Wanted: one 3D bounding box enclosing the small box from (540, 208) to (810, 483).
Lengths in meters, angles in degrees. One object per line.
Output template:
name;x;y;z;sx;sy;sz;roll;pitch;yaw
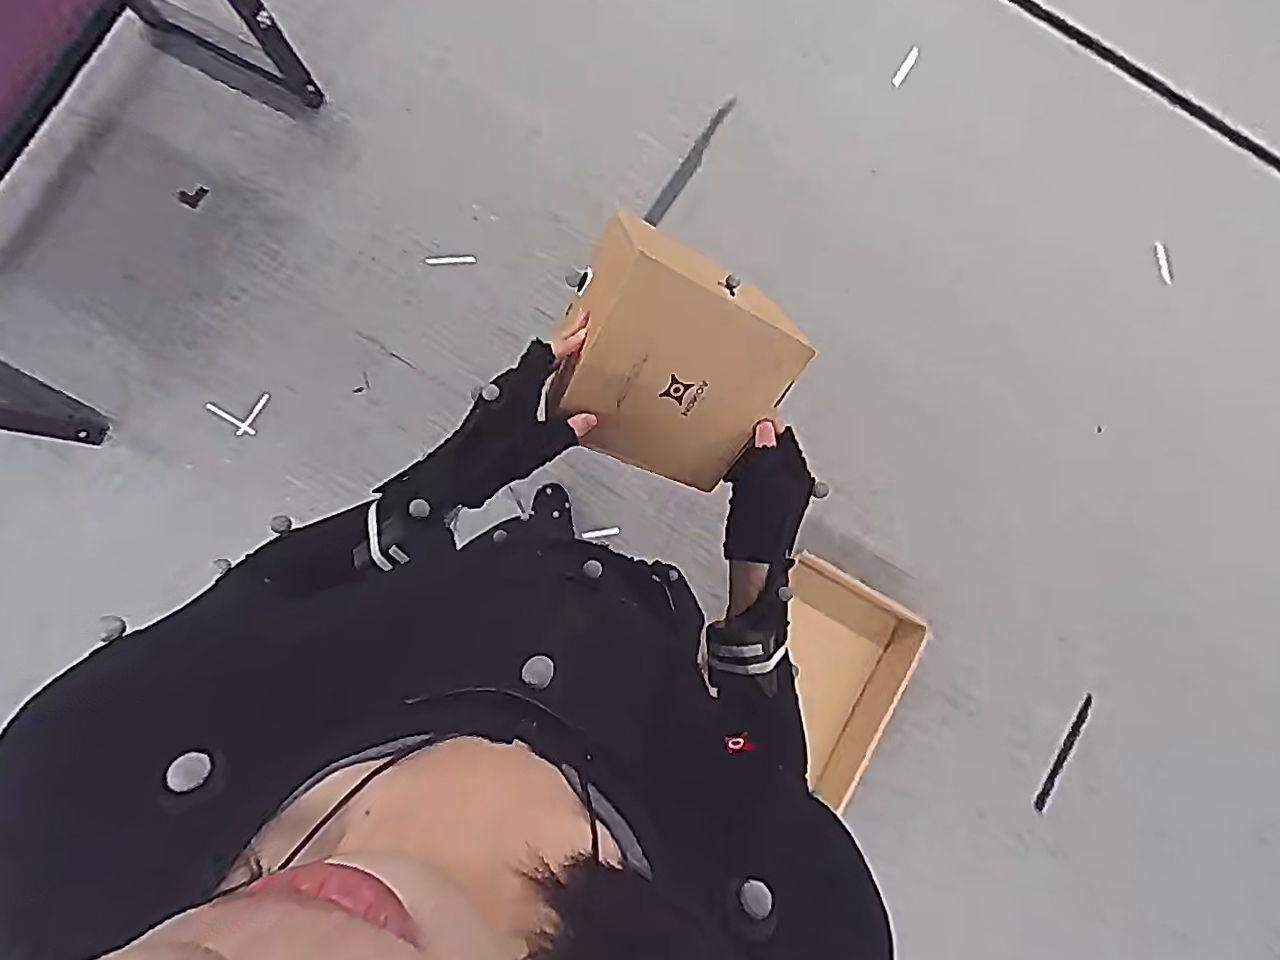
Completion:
small box;0.018;-0.130;0.509;0.179;0.176;0.168;20;120;-22
